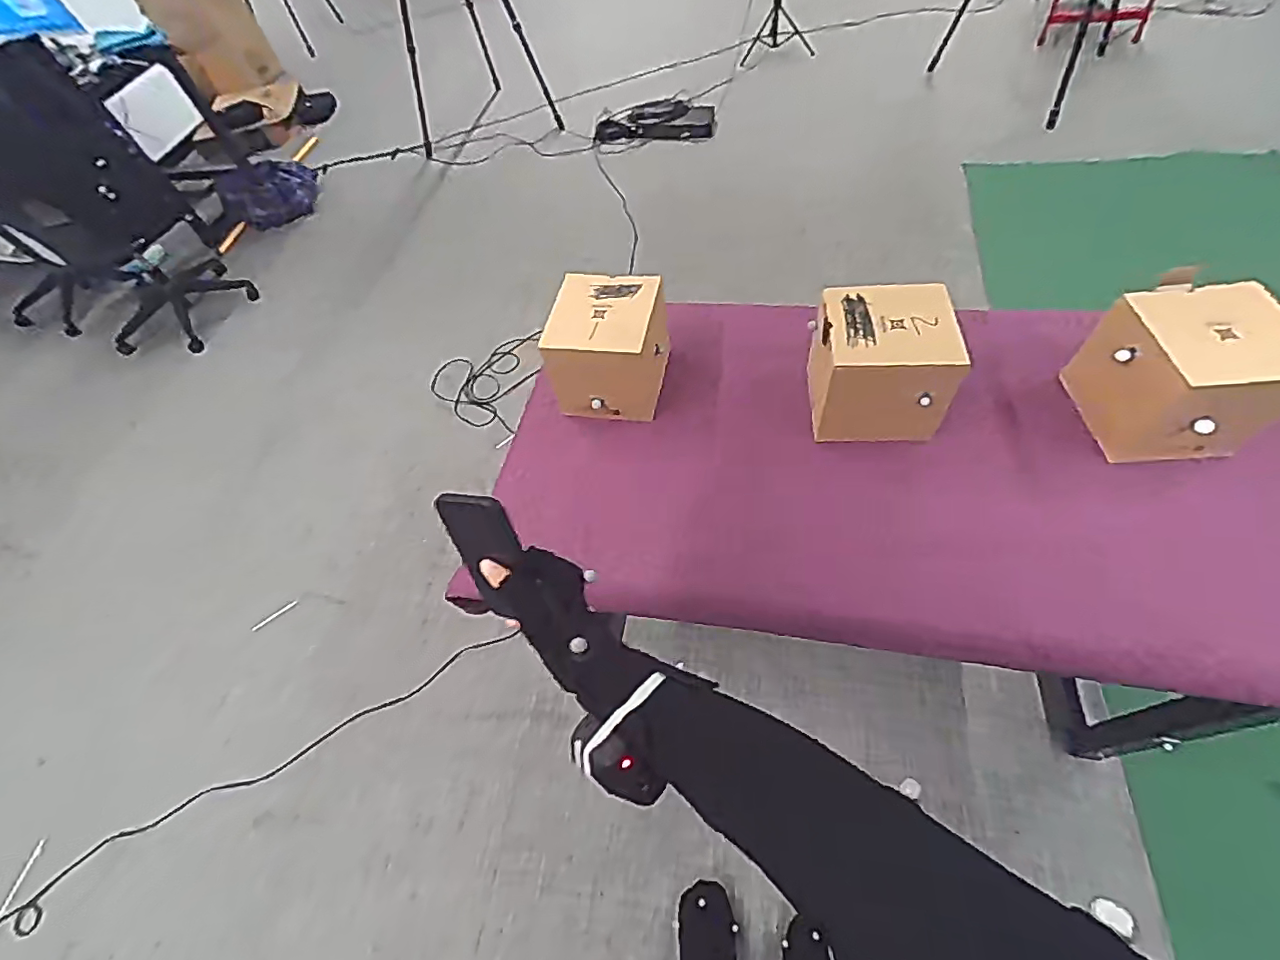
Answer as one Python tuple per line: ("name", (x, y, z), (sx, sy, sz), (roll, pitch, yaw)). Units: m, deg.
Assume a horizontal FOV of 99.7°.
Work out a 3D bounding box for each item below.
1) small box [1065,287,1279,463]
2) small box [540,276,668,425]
("small box", (0.743, -0.135, 0.745), (0.168, 0.176, 0.179), (-4, 56, 7))
("small box", (-0.049, -0.218, 0.915), (0.168, 0.176, 0.179), (6, 59, 12))
